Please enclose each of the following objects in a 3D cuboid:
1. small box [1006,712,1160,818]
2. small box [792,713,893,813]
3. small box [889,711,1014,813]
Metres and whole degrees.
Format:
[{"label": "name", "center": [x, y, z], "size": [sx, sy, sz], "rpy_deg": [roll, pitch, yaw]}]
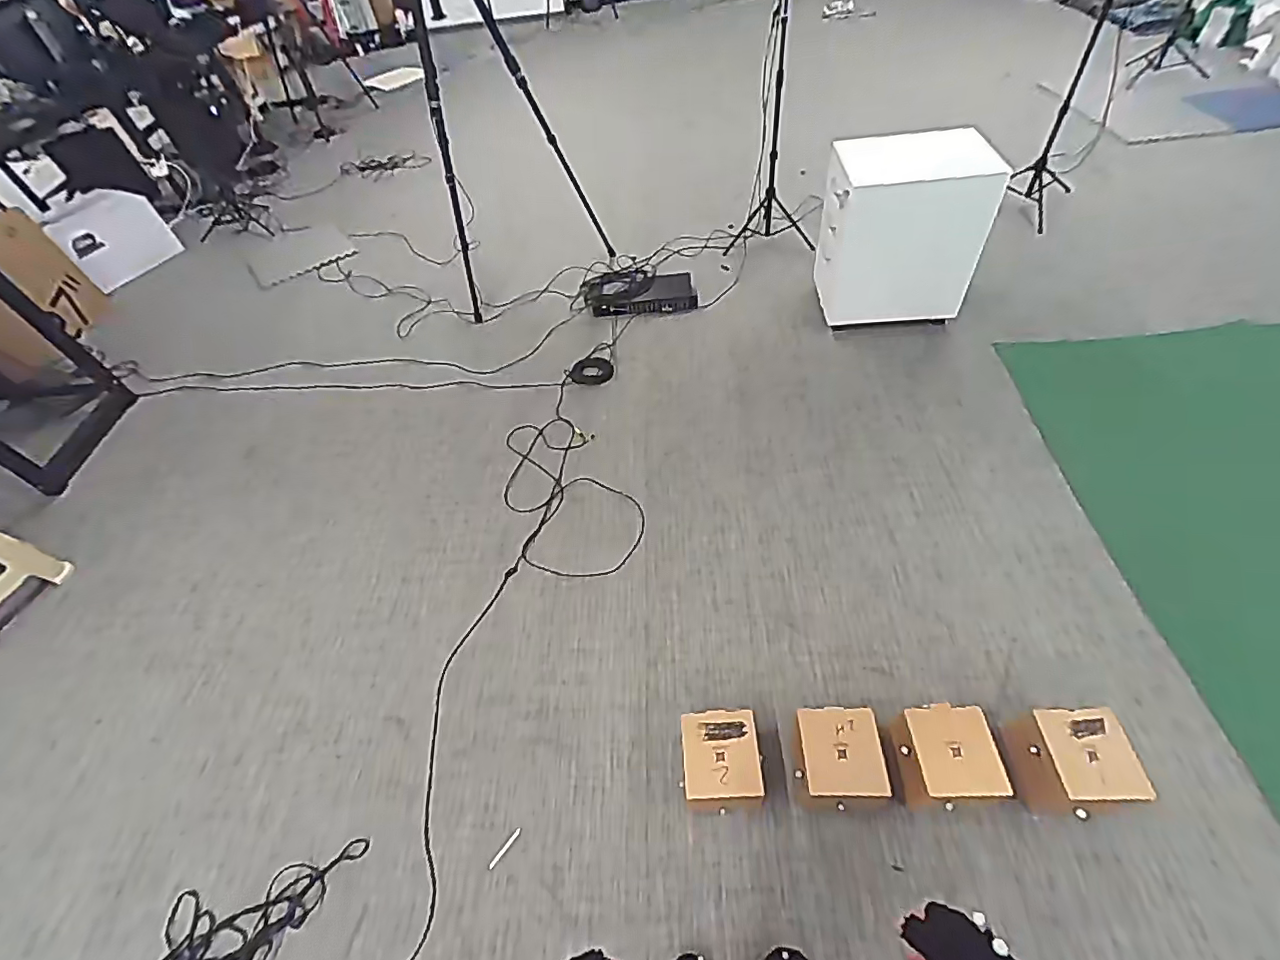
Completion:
[{"label": "small box", "center": [0.937, 0.617, 1.168], "size": [0.168, 0.176, 0.179], "rpy_deg": [-4, 51, 5]}, {"label": "small box", "center": [0.443, 0.638, 1.213], "size": [0.168, 0.176, 0.179], "rpy_deg": [-2, 50, 5]}, {"label": "small box", "center": [0.675, 0.627, 1.195], "size": [0.168, 0.176, 0.179], "rpy_deg": [-4, 50, 4]}]
